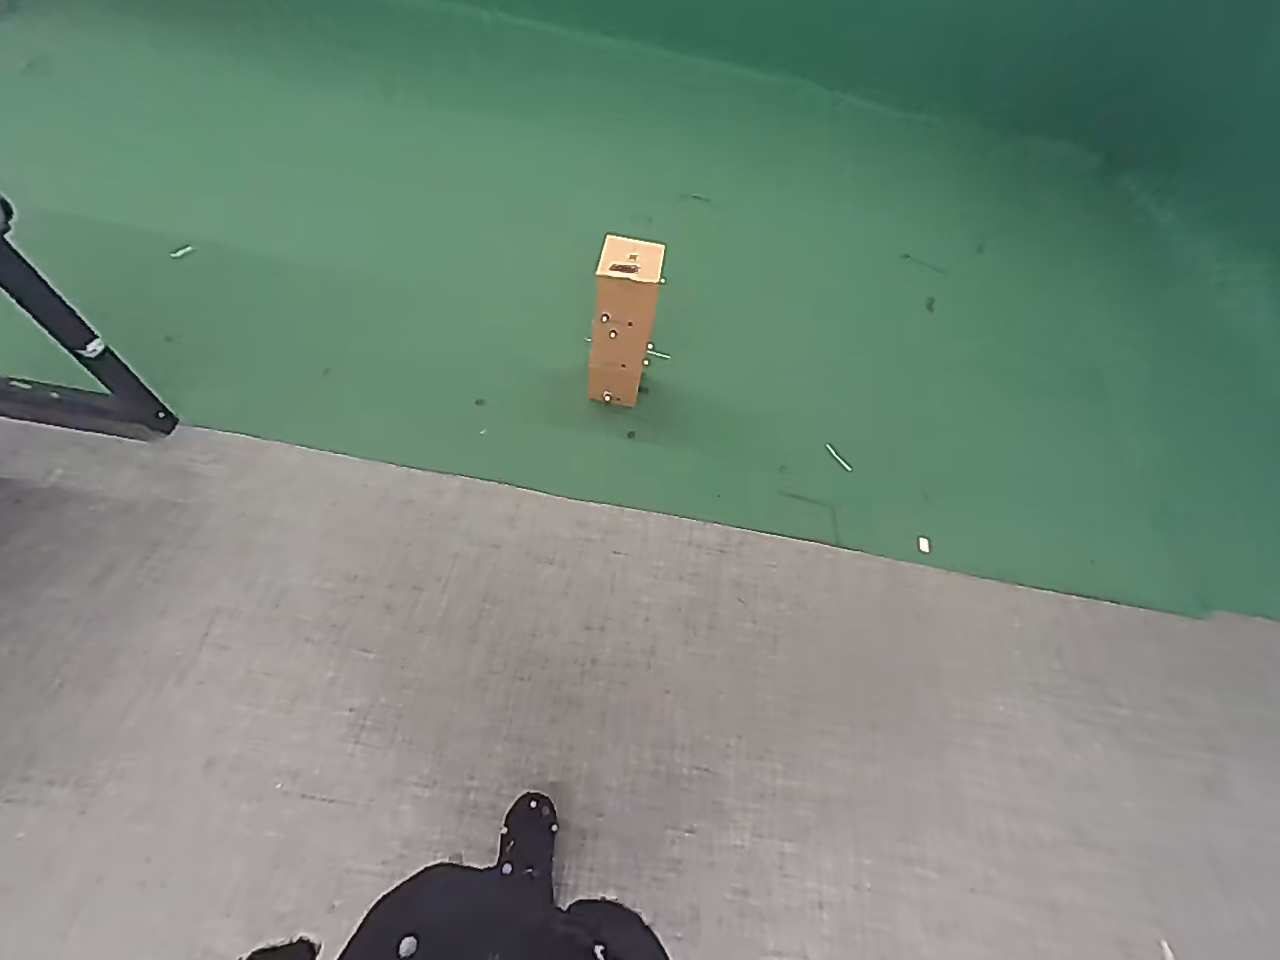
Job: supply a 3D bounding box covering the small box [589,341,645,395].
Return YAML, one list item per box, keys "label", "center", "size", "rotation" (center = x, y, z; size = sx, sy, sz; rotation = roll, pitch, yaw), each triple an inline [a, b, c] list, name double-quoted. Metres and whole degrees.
- label: "small box"
  center: [-0.072, -0.406, 1.762]
  size: [0.168, 0.176, 0.179]
  rotation: [11, 58, 1]

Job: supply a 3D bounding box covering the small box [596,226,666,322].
- label: "small box"
  center: [-0.028, -0.568, 1.501]
  size: [0.168, 0.176, 0.179]
  rotation: [10, 57, -2]

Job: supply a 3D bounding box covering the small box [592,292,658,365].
- label: "small box"
  center: [-0.049, -0.482, 1.640]
  size: [0.168, 0.176, 0.179]
  rotation: [11, 57, -1]
